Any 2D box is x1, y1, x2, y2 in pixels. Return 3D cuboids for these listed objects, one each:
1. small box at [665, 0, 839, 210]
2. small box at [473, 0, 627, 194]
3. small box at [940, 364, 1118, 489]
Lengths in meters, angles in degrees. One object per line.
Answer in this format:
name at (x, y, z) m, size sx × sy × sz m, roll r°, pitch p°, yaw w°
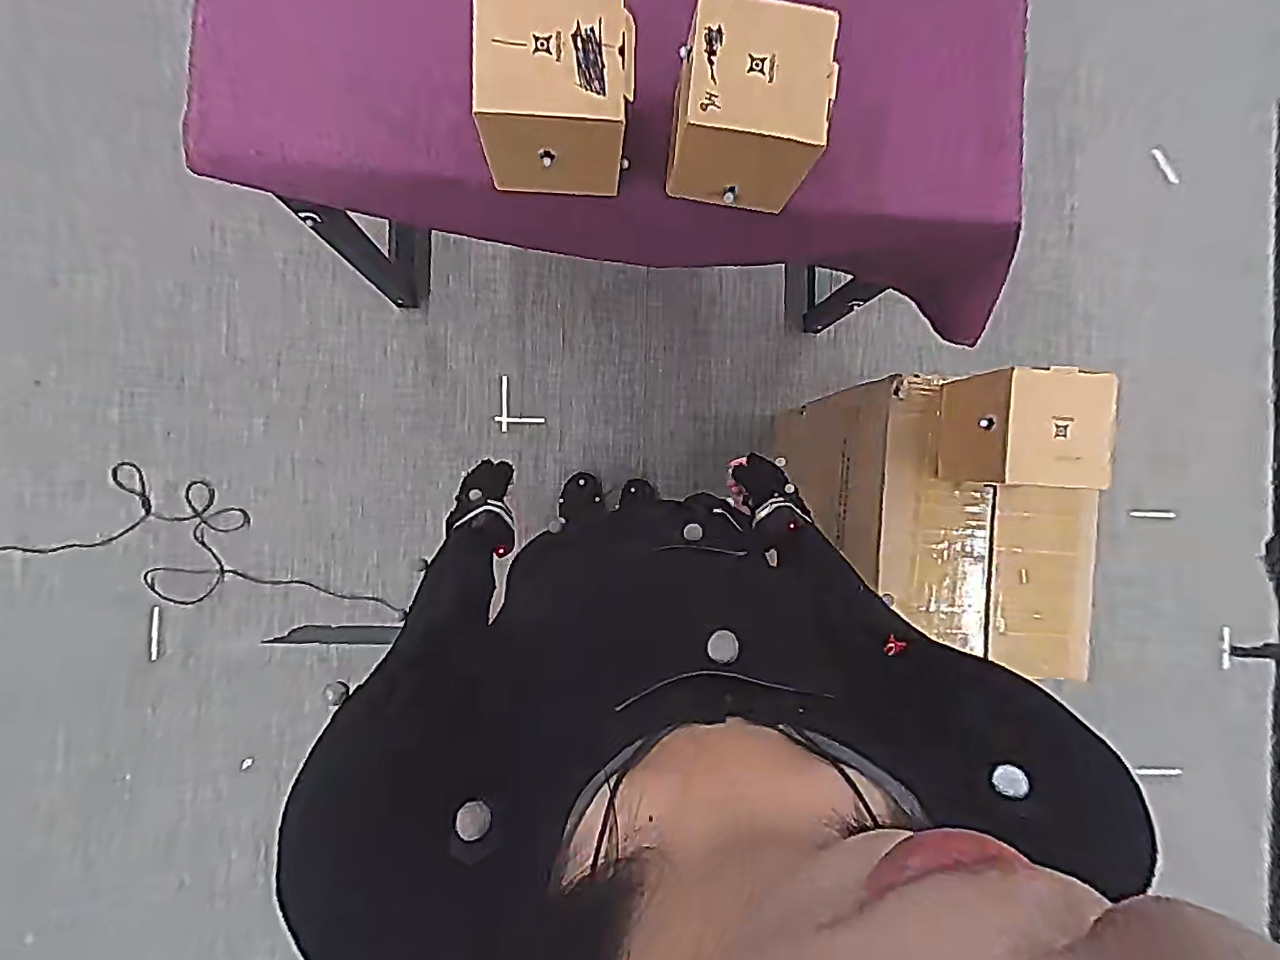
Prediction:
small box at (0.140, -0.492, 0.728) m, size 0.179 × 0.176 × 0.168 m, roll 6°, pitch 88°, yaw -6°
small box at (-0.110, -0.496, 0.702) m, size 0.179 × 0.176 × 0.168 m, roll 1°, pitch 88°, yaw -4°
small box at (0.614, -0.079, 0.872) m, size 0.168 × 0.176 × 0.179 m, roll 3°, pitch 91°, yaw -3°
